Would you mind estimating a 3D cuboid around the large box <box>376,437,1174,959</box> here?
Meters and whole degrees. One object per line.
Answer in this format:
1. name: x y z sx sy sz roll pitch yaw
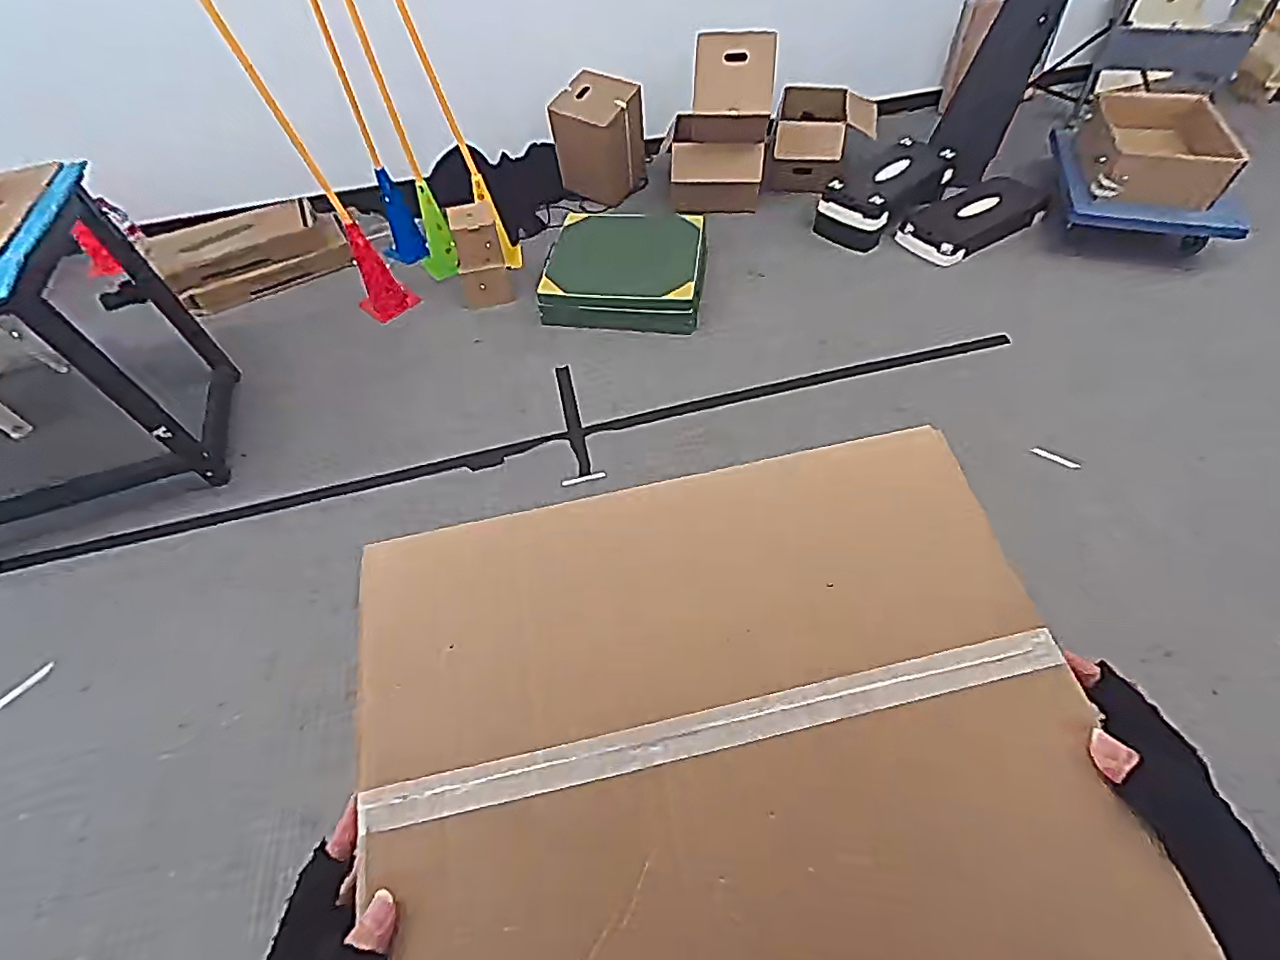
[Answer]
1. large box: 0.052 0.207 0.455 0.408 0.320 0.320 -13 64 -3
